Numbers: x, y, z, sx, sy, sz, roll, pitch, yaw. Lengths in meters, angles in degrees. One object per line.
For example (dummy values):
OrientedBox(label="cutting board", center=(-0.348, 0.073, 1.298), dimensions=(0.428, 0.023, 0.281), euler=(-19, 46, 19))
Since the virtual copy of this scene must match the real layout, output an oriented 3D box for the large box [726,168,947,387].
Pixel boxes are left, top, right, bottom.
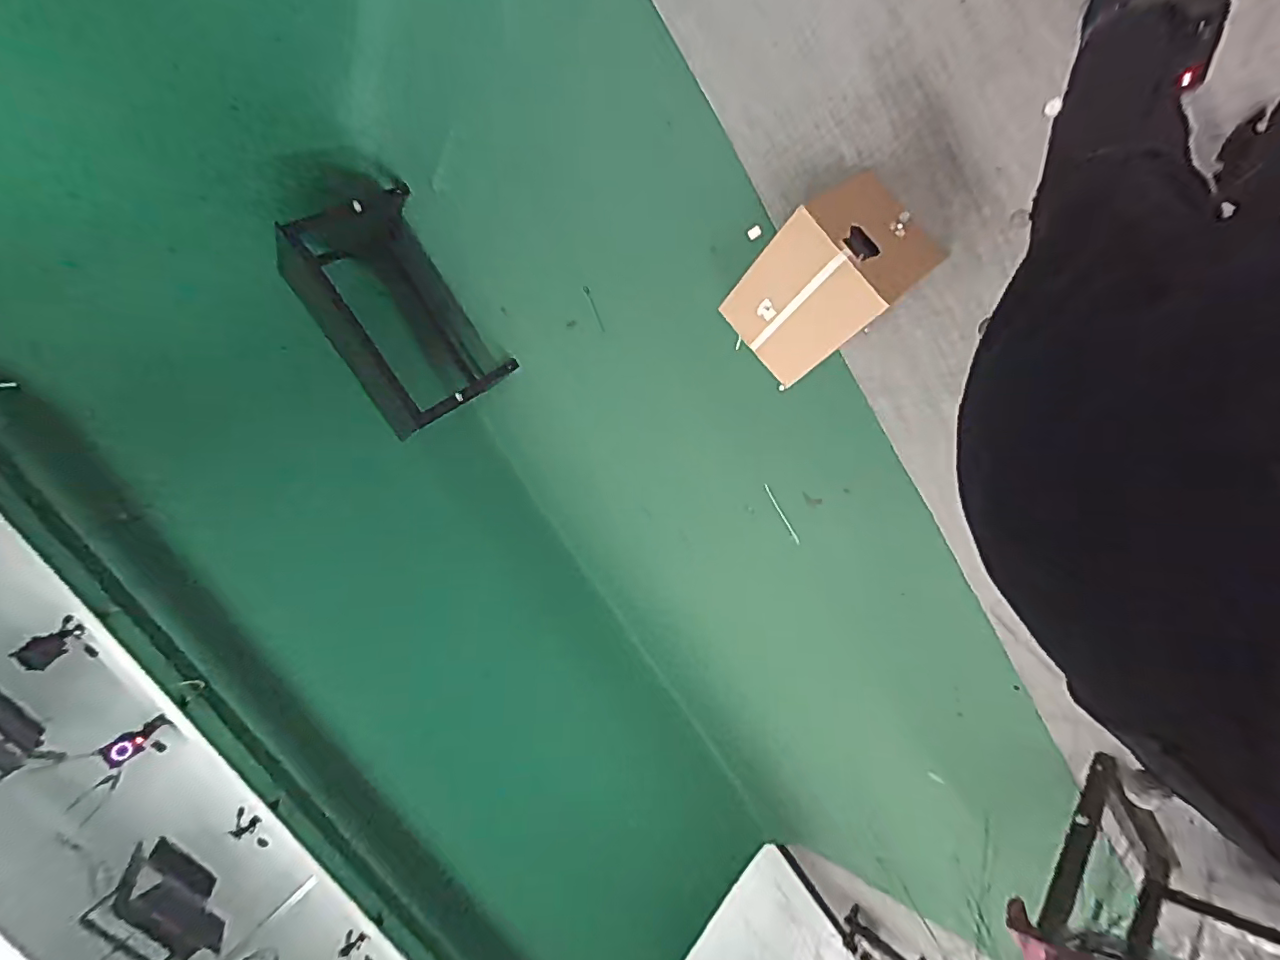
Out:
OrientedBox(label="large box", center=(0.511, -0.531, 1.458), dimensions=(0.320, 0.320, 0.408), euler=(51, 153, 3))
